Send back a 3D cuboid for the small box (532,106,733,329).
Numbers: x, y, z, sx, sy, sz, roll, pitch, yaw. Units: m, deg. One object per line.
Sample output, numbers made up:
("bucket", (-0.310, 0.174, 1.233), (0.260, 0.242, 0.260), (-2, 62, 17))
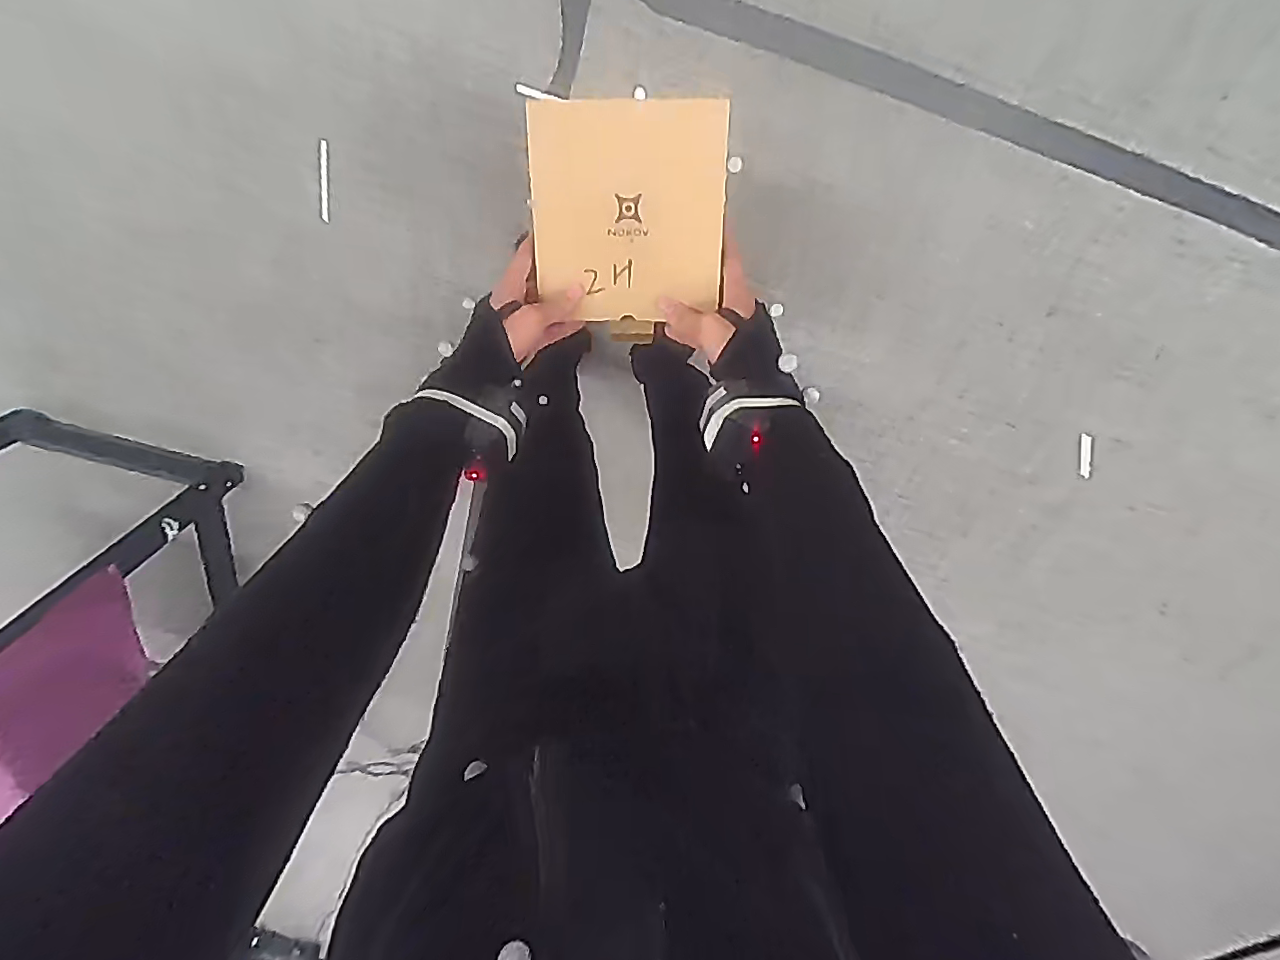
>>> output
("small box", (-0.003, -0.261, 0.541), (0.168, 0.176, 0.179), (2, 121, 4))
